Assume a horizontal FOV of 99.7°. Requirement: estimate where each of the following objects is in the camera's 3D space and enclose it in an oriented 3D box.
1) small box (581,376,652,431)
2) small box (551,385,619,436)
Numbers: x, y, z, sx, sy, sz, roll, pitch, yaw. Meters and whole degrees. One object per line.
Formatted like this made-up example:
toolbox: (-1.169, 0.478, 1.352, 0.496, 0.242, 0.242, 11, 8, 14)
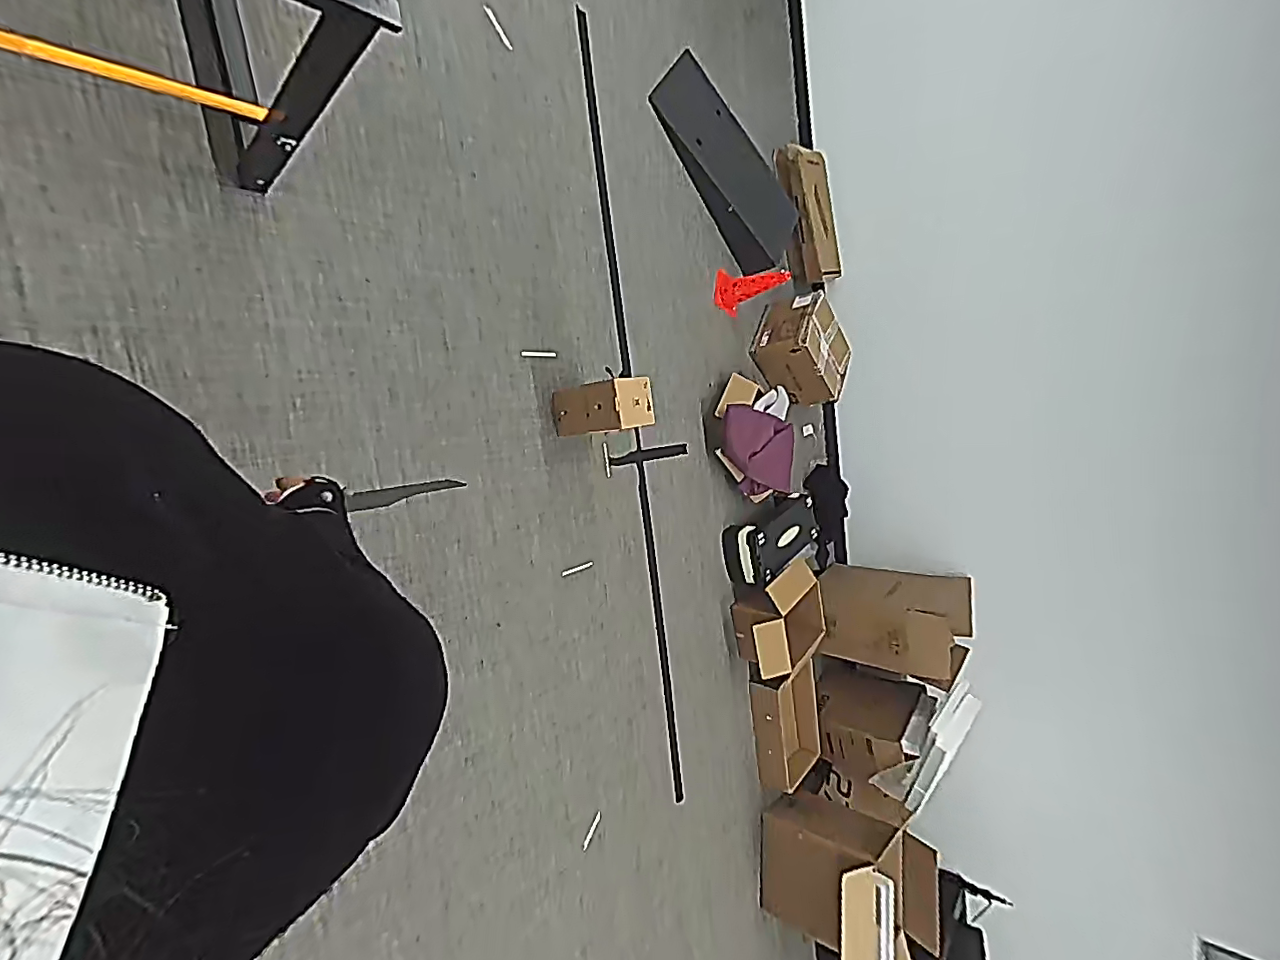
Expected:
small box: (-0.086, -0.261, 1.852, 0.179, 0.176, 0.168, -14, 99, -46)
small box: (-0.199, -0.254, 1.971, 0.179, 0.176, 0.168, -12, 97, -47)
